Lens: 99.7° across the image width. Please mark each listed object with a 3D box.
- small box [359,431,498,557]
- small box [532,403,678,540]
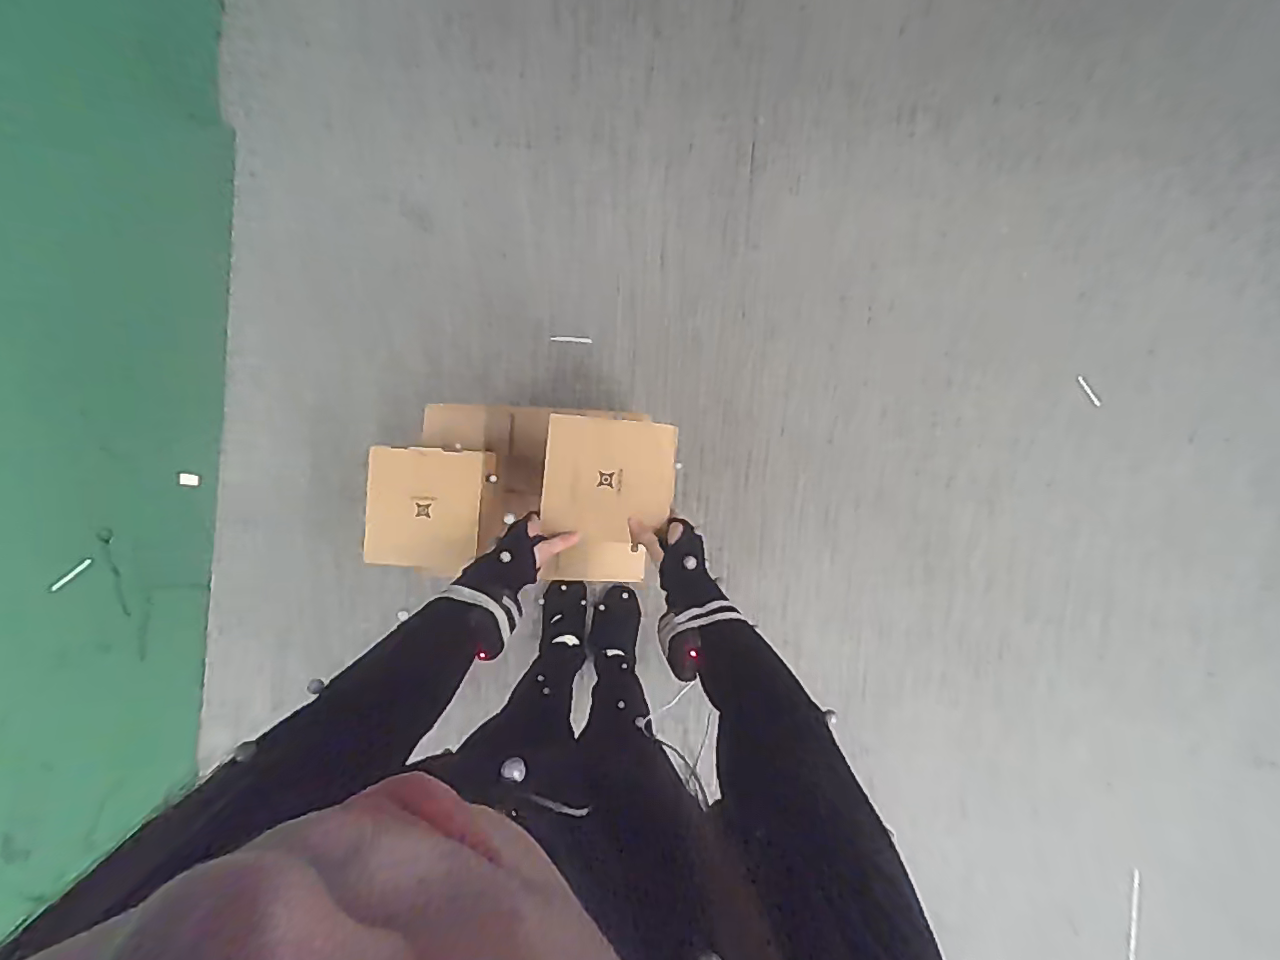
[{"bbox_3d":[-0.330,0.018,0.874,0.168,0.176,0.179,4,92,-4],"label":"small box"},{"bbox_3d":[-0.048,-0.009,0.796,0.179,0.176,0.168,8,87,-1],"label":"small box"}]
